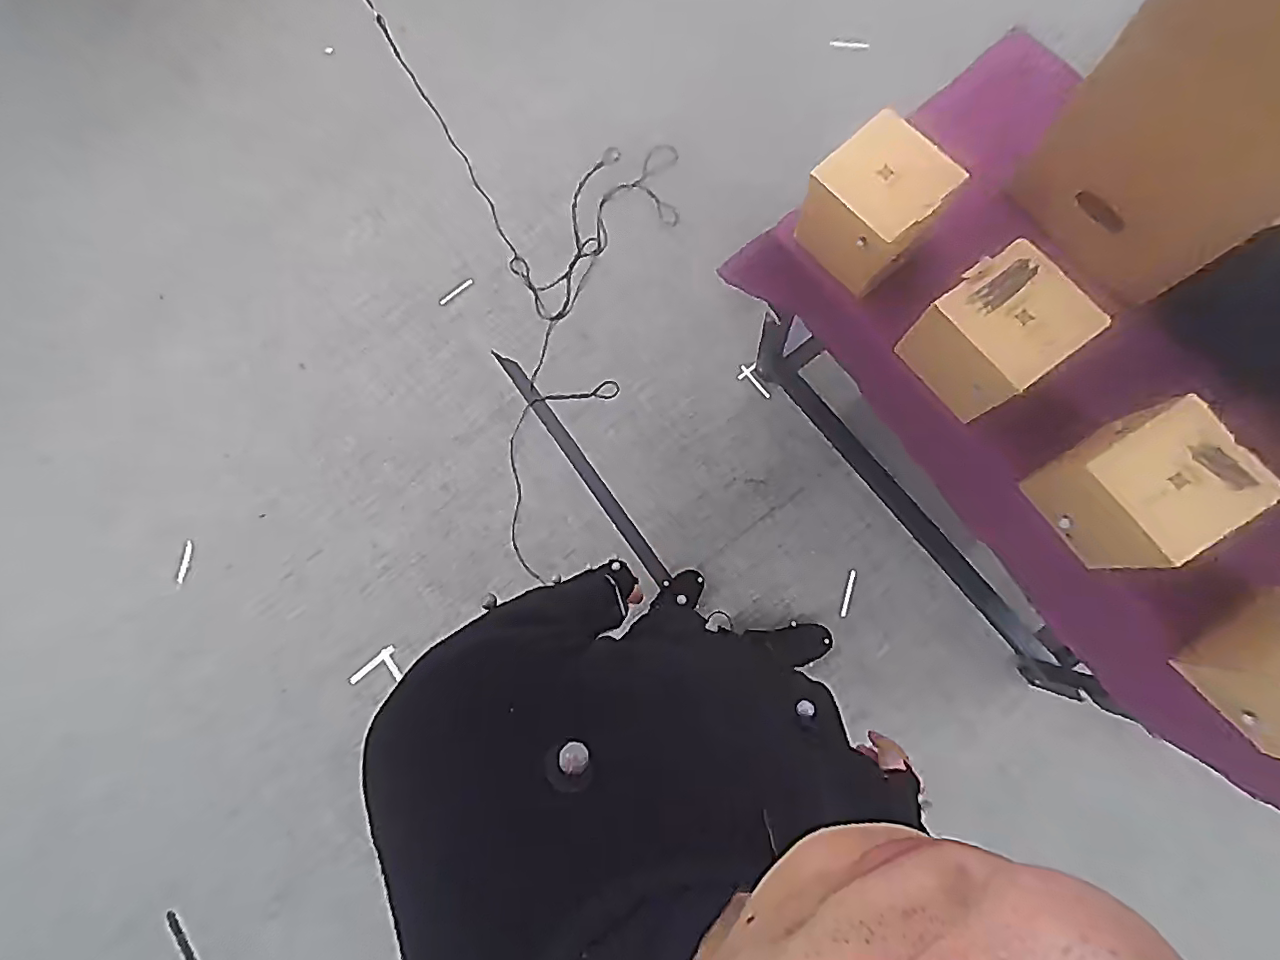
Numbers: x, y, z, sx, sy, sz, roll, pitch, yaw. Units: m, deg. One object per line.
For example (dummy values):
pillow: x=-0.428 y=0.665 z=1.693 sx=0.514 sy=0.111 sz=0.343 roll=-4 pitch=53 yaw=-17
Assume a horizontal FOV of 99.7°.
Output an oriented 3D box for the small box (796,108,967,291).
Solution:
small box: x=0.387 y=-0.456 z=0.906 sx=0.168 sy=0.176 sz=0.179 roll=-41 pitch=79 yaw=-1

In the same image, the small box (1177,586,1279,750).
small box: x=0.898 y=0.253 z=0.717 sx=0.179 sy=0.176 sz=0.168 roll=-40 pitch=77 yaw=-1

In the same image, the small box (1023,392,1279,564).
small box: x=0.717 y=0.006 z=0.784 sx=0.179 sy=0.176 sz=0.168 roll=-34 pitch=78 yaw=1
